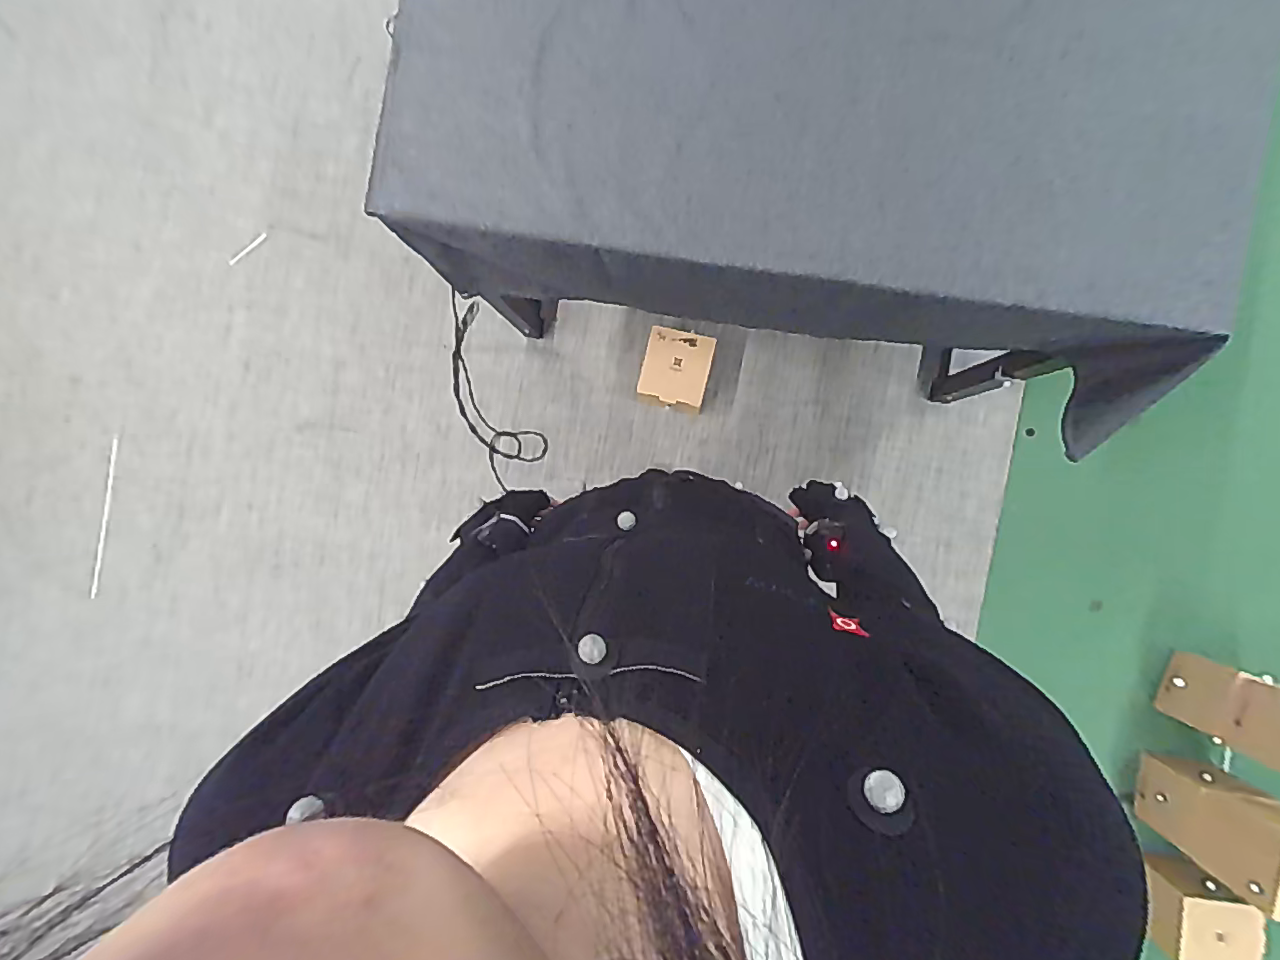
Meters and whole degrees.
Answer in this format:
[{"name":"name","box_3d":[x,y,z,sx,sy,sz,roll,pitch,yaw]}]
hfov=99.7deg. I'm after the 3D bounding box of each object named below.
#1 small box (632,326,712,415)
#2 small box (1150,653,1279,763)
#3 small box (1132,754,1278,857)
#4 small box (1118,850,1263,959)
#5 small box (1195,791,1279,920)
[{"name":"small box","box_3d":[0.085,-0.275,1.397,0.168,0.176,0.179,14,91,4]},{"name":"small box","box_3d":[1.415,0.540,1.307,0.179,0.176,0.168,21,90,5]},{"name":"small box","box_3d":[1.353,0.792,1.309,0.179,0.176,0.168,8,90,3]},{"name":"small box","box_3d":[1.323,1.038,1.309,0.179,0.176,0.168,5,90,4]},{"name":"small box","box_3d":[1.346,0.798,1.146,0.168,0.176,0.179,11,91,4]}]
